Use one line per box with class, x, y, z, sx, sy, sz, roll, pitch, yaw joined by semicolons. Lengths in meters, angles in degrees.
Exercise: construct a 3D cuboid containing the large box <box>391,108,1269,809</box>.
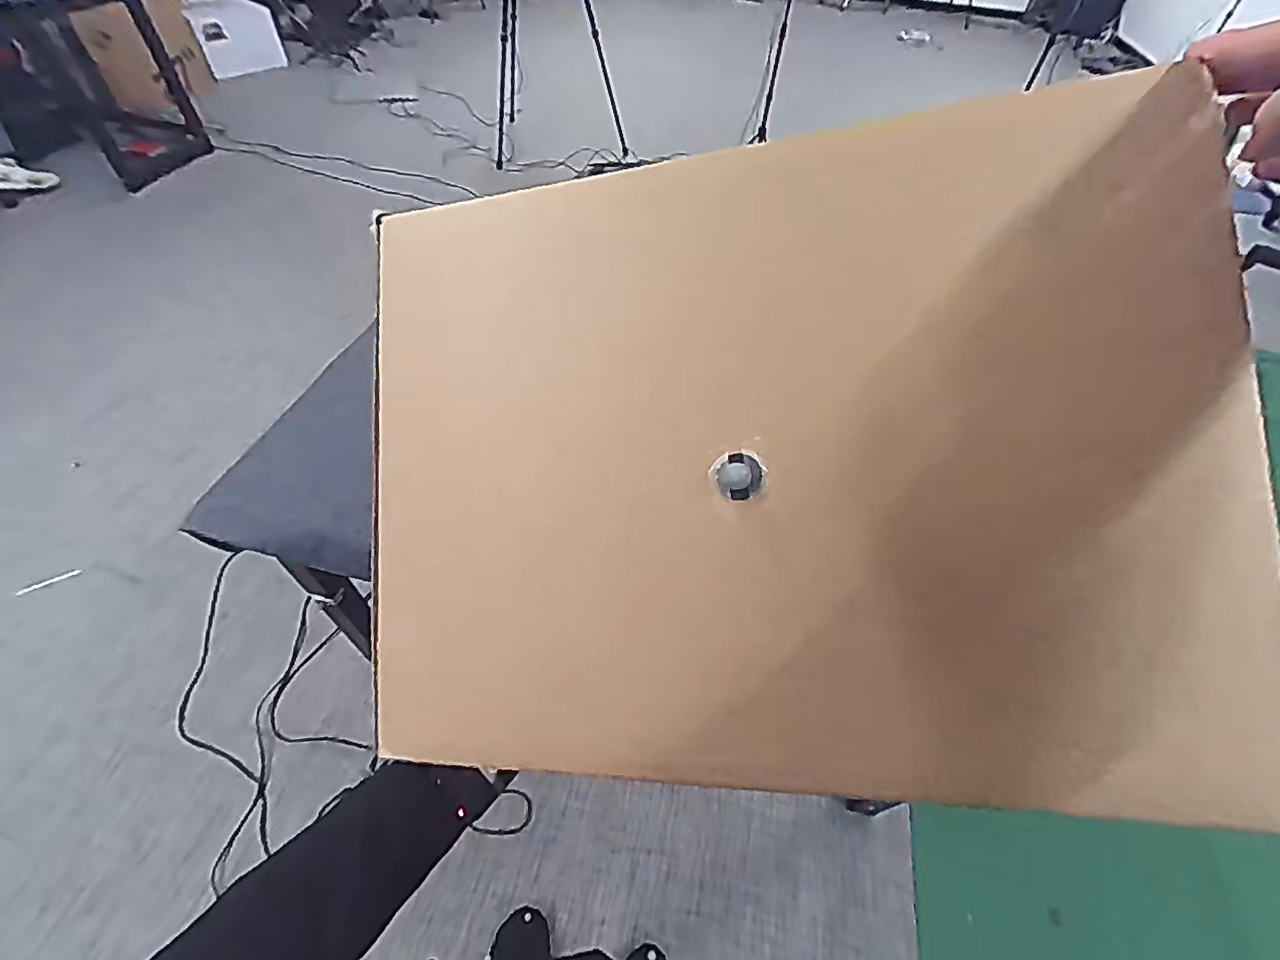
large box;0.087;0.008;0.413;0.408;0.320;0.320;-5;84;13
